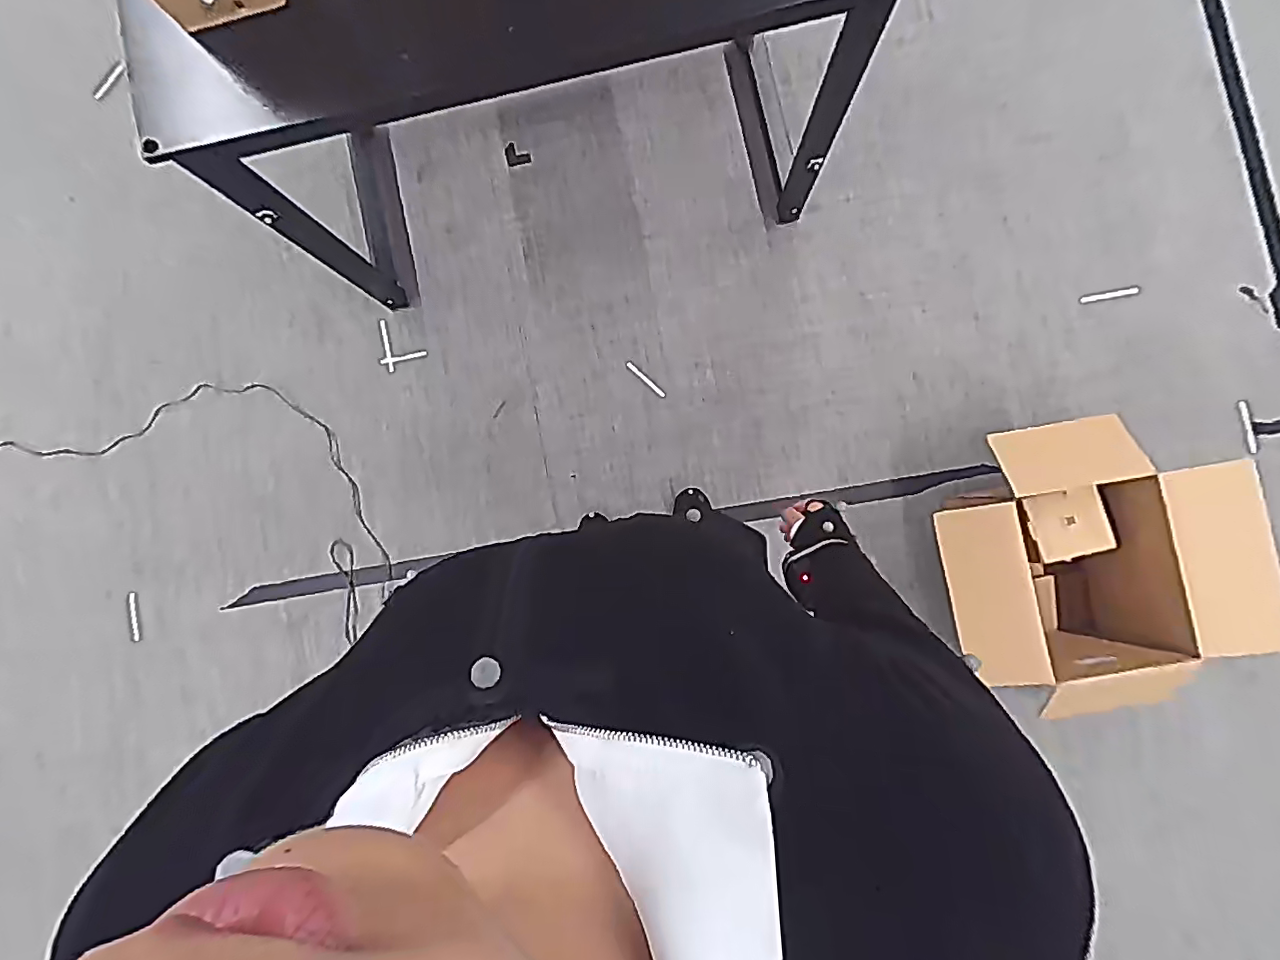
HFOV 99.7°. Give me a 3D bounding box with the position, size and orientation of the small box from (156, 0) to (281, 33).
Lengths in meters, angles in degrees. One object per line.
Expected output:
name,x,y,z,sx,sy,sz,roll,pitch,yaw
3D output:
small box,-0.650,-0.794,0.760,0.168,0.176,0.179,-13,88,2
